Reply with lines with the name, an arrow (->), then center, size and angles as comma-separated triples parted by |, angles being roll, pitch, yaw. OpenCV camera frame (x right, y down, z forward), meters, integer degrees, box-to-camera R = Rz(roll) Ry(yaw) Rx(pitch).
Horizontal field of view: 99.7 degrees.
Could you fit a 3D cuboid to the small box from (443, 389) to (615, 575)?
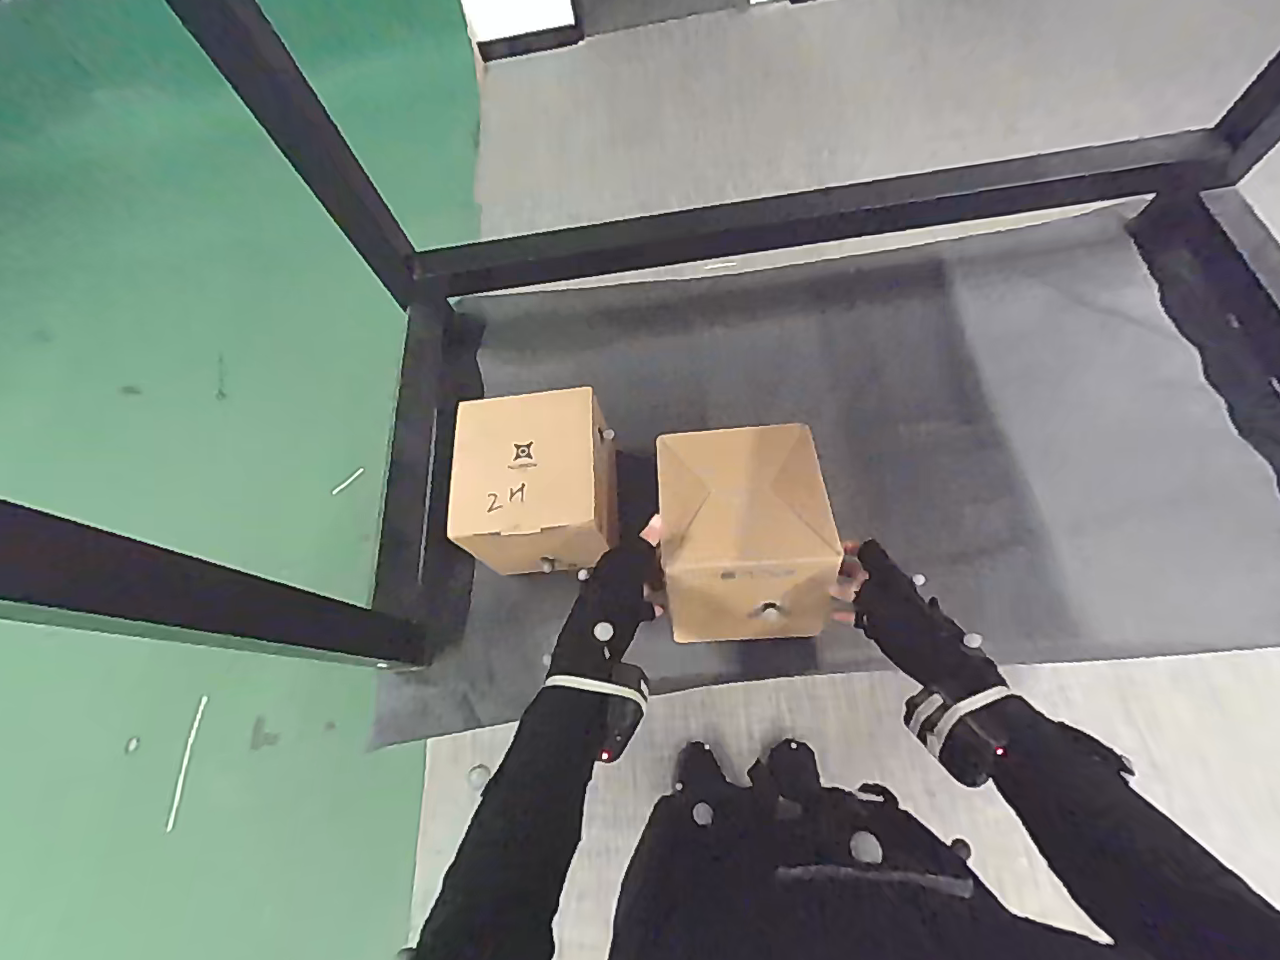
small box -> -0.127, 0.010, 0.684 | 0.168, 0.176, 0.179 | -6, 65, 6
